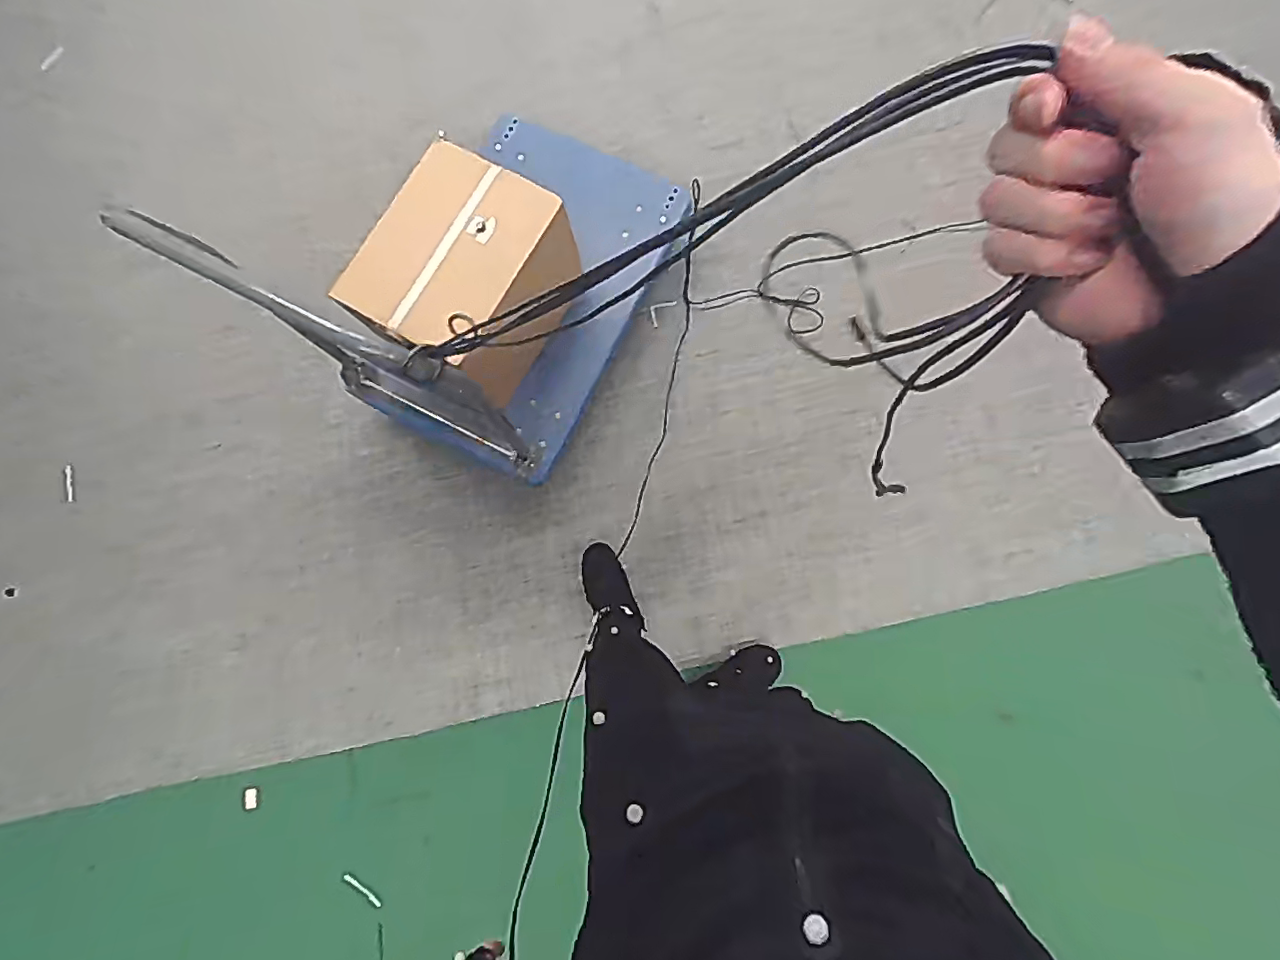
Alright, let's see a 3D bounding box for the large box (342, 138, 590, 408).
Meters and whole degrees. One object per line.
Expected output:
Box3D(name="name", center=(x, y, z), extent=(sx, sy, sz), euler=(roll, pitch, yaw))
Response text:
Box3D(name="large box", center=(-0.357, -0.436, 1.214), extent=(0.320, 0.320, 0.408), euler=(29, 83, 6))
